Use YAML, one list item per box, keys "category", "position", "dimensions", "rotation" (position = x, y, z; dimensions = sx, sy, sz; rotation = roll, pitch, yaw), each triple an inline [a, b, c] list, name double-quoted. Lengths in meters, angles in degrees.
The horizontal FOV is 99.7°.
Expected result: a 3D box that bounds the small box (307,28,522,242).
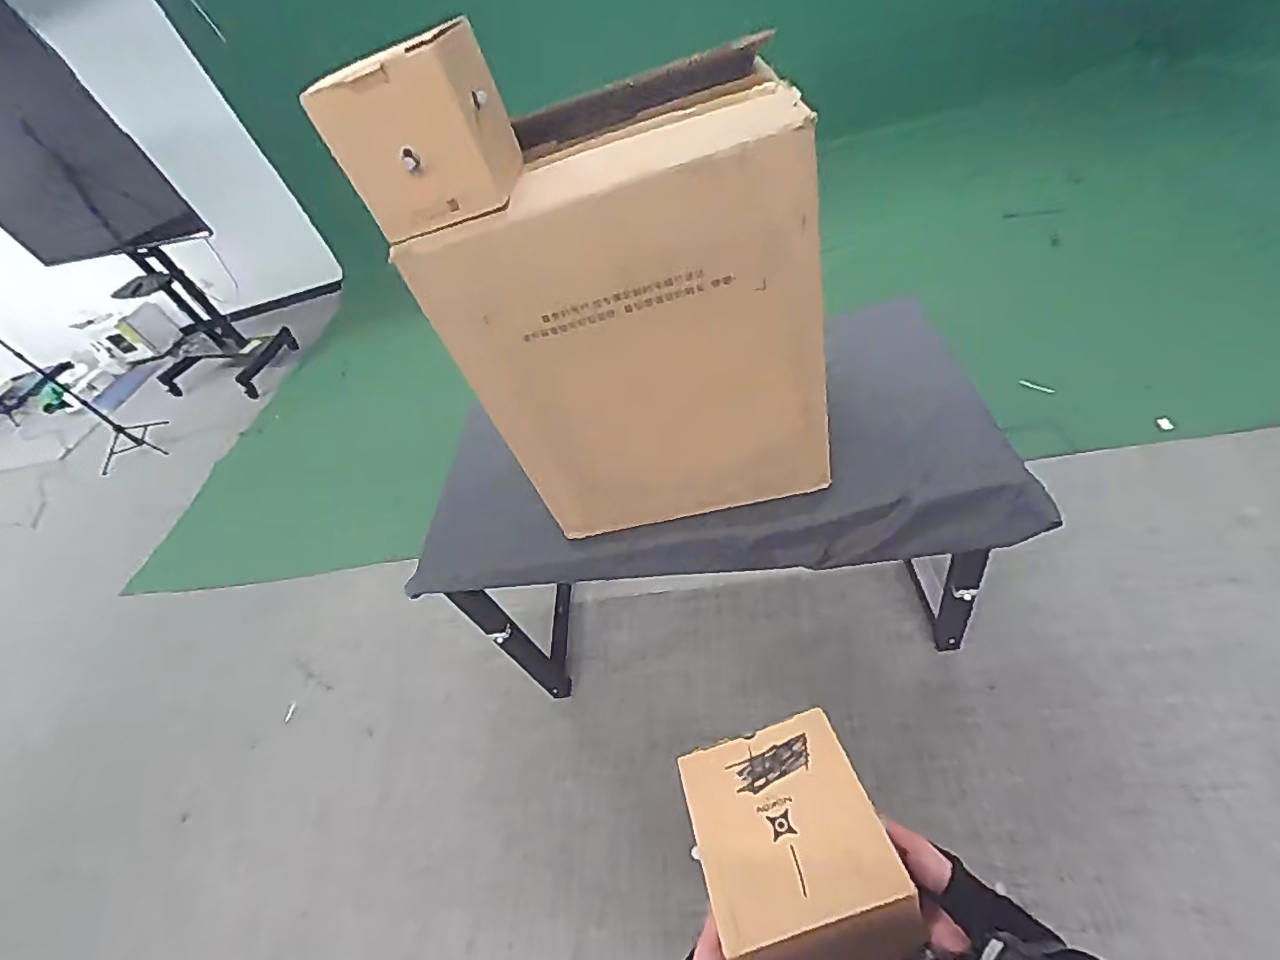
- category: "small box"
  position: [-0.264, -0.424, 0.683]
  dimensions: [0.168, 0.176, 0.179]
  rotation: [-12, 46, 11]
